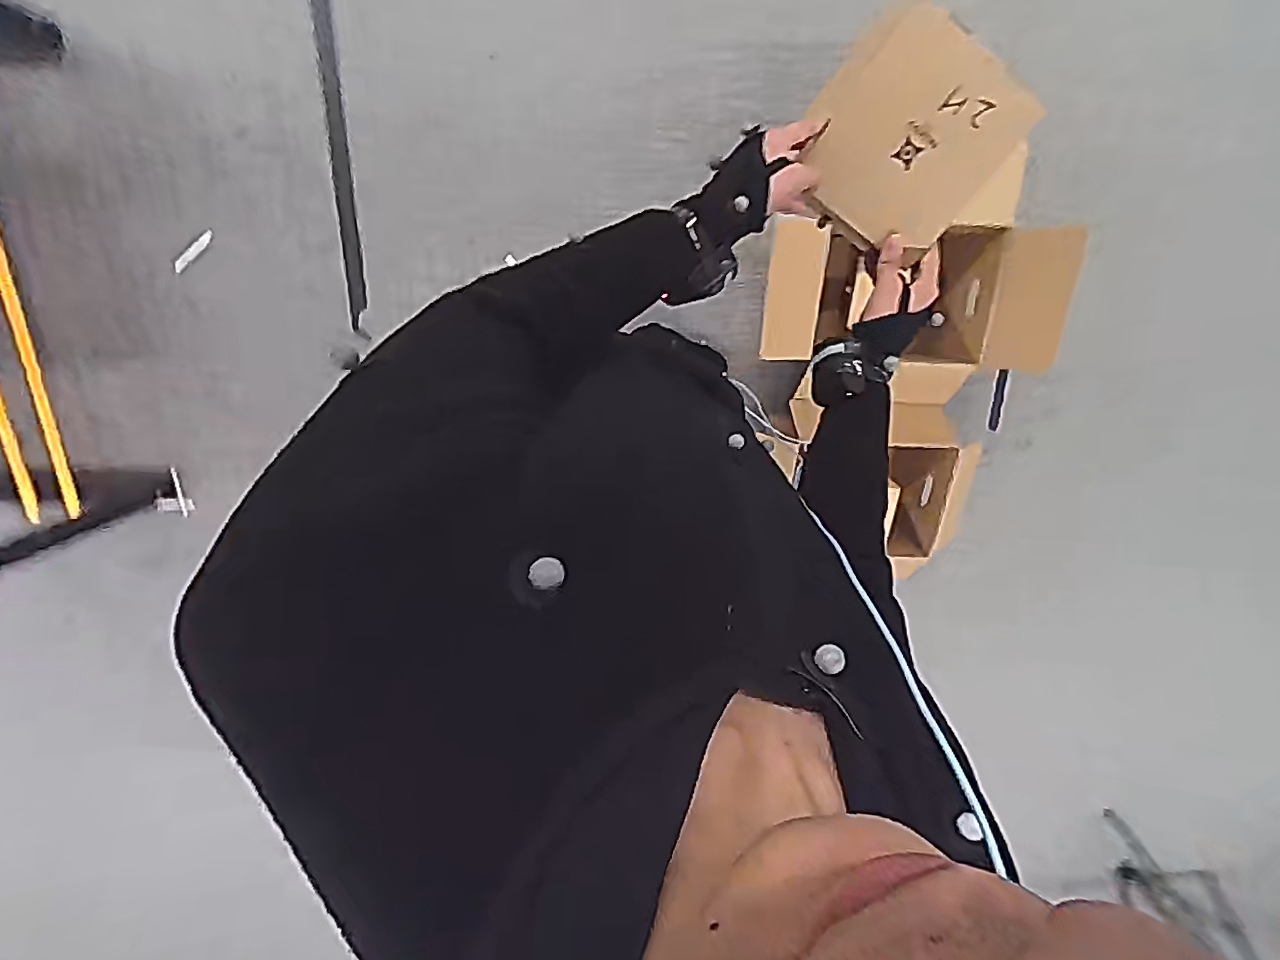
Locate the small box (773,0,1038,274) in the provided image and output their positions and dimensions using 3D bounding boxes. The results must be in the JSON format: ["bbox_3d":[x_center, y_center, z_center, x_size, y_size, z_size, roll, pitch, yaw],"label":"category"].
[{"bbox_3d":[0.264,-0.361,0.591,0.168,0.176,0.179,31,118,-14],"label":"small box"}]
